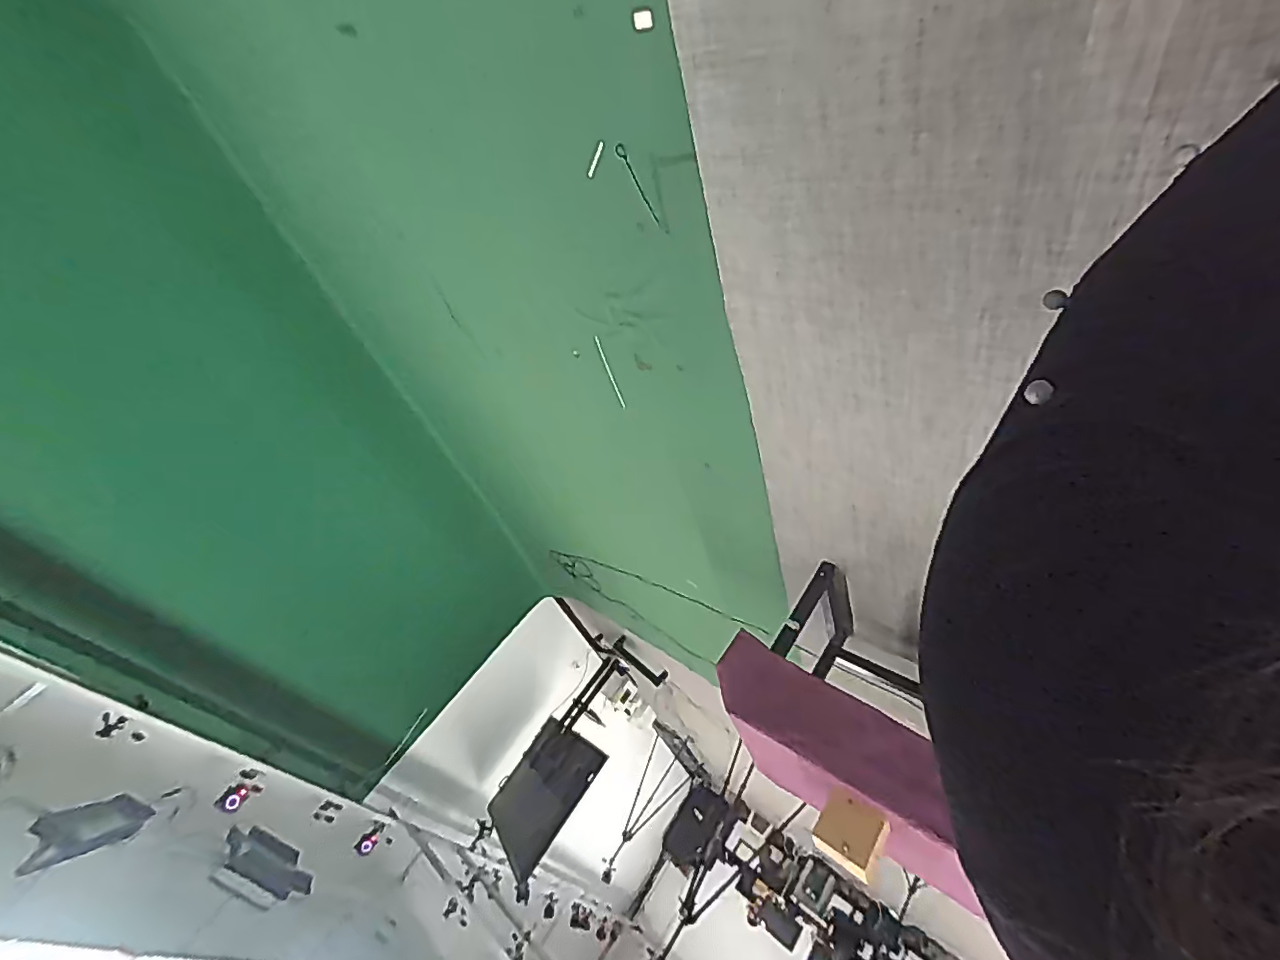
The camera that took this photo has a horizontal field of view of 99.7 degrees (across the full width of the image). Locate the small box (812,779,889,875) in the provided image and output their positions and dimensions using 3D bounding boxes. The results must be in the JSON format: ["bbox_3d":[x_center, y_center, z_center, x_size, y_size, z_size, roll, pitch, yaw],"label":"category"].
[{"bbox_3d":[0.657,1.071,1.675,0.168,0.176,0.179,17,147,39],"label":"small box"}]
